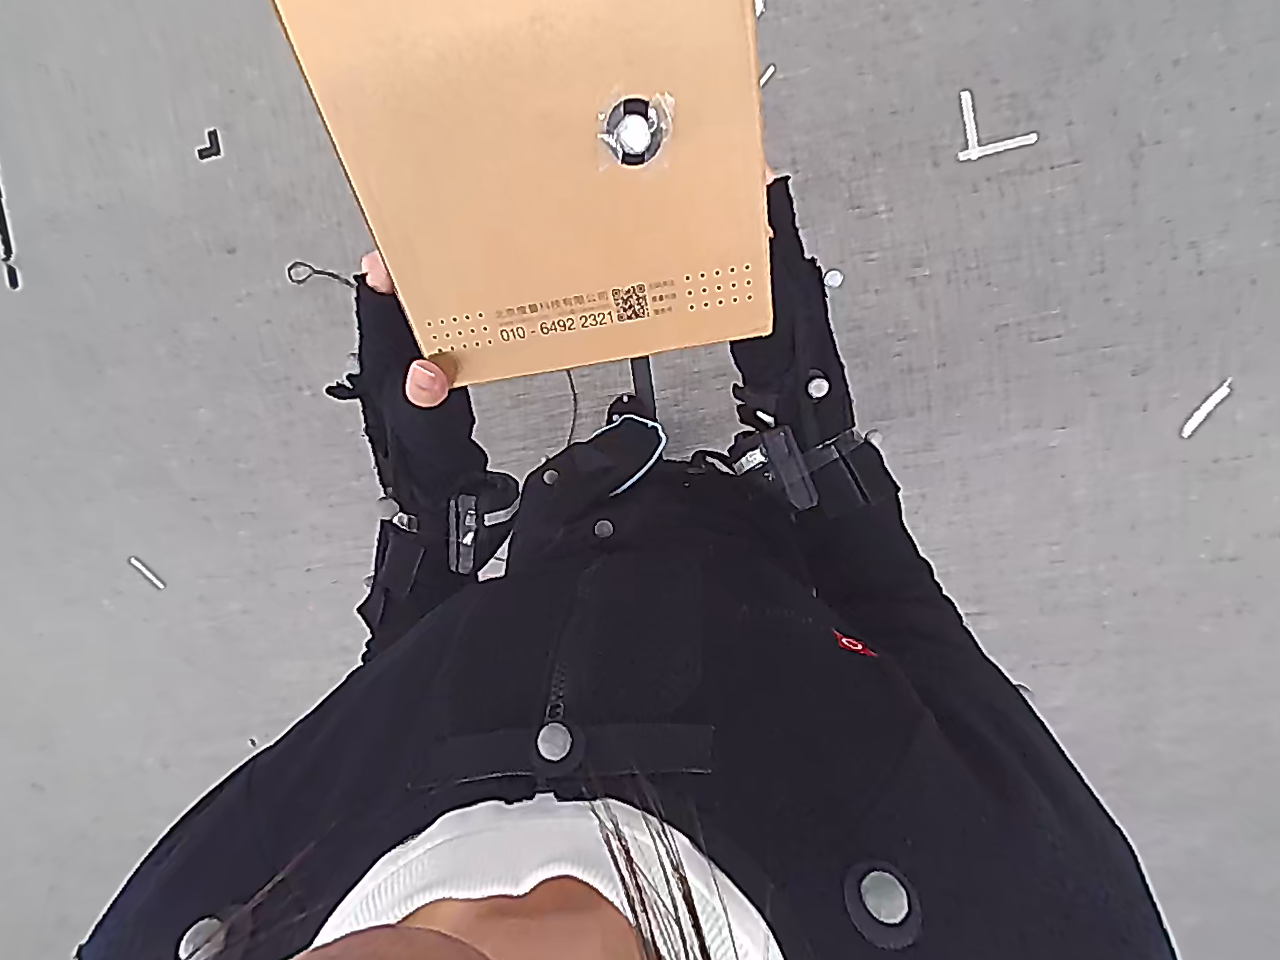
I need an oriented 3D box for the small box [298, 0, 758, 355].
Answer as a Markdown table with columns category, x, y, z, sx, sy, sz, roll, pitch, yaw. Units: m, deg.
| category | x | y | z | sx | sy | sz | roll | pitch | yaw |
| --- | --- | --- | --- | --- | --- | --- | --- | --- | --- |
| small box | -0.029 | -0.178 | 0.300 | 0.168 | 0.179 | 0.176 | -7 | 124 | 9 |
